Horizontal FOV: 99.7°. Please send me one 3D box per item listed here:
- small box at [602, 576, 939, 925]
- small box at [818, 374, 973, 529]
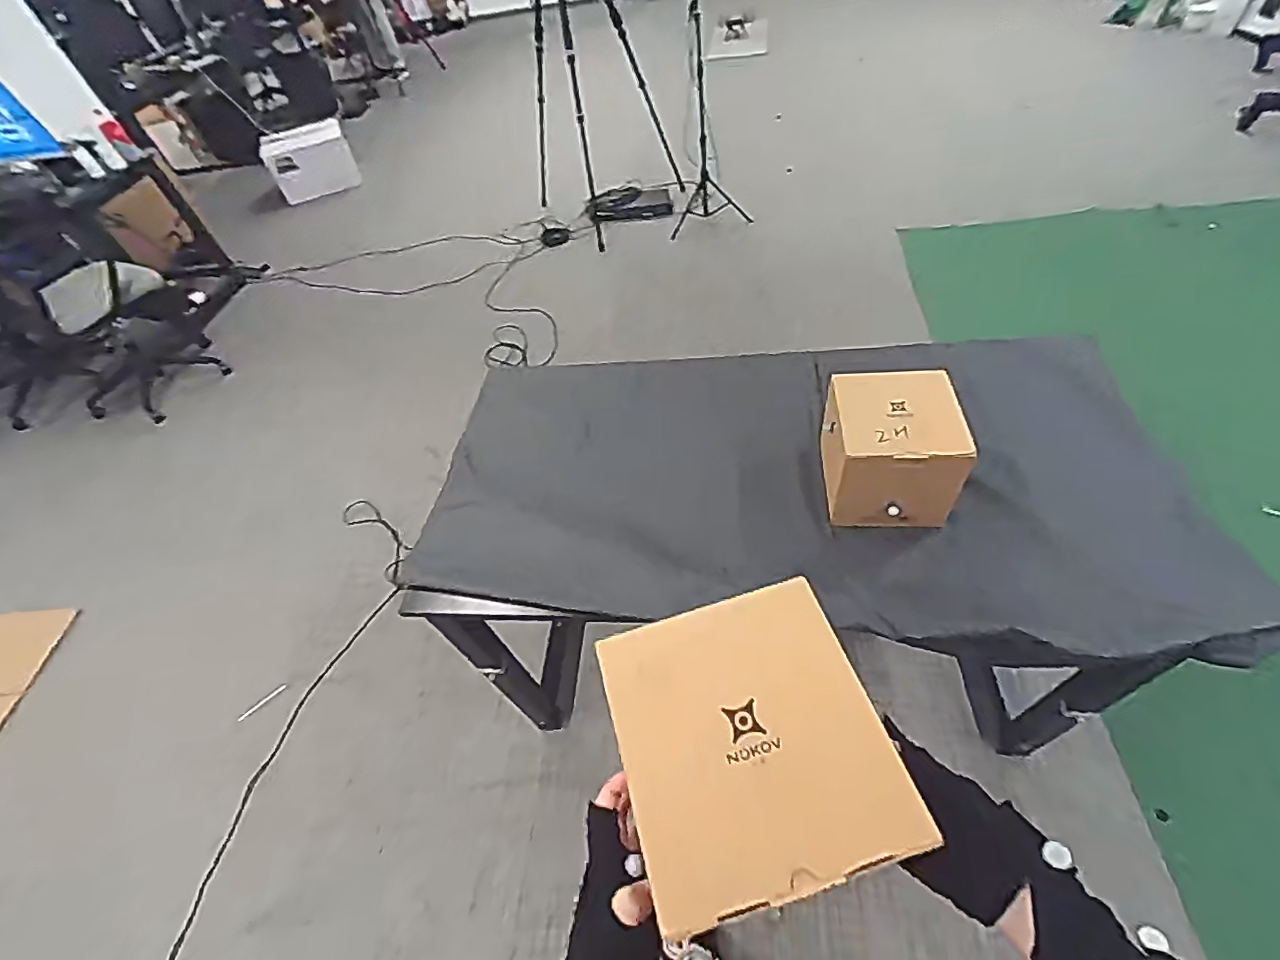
[{"bbox_3d":[0.076,0.204,0.410,0.168,0.176,0.179,-16,53,-5],"label":"small box"},{"bbox_3d":[0.378,-0.043,0.839,0.168,0.176,0.179,0,51,9],"label":"small box"}]
